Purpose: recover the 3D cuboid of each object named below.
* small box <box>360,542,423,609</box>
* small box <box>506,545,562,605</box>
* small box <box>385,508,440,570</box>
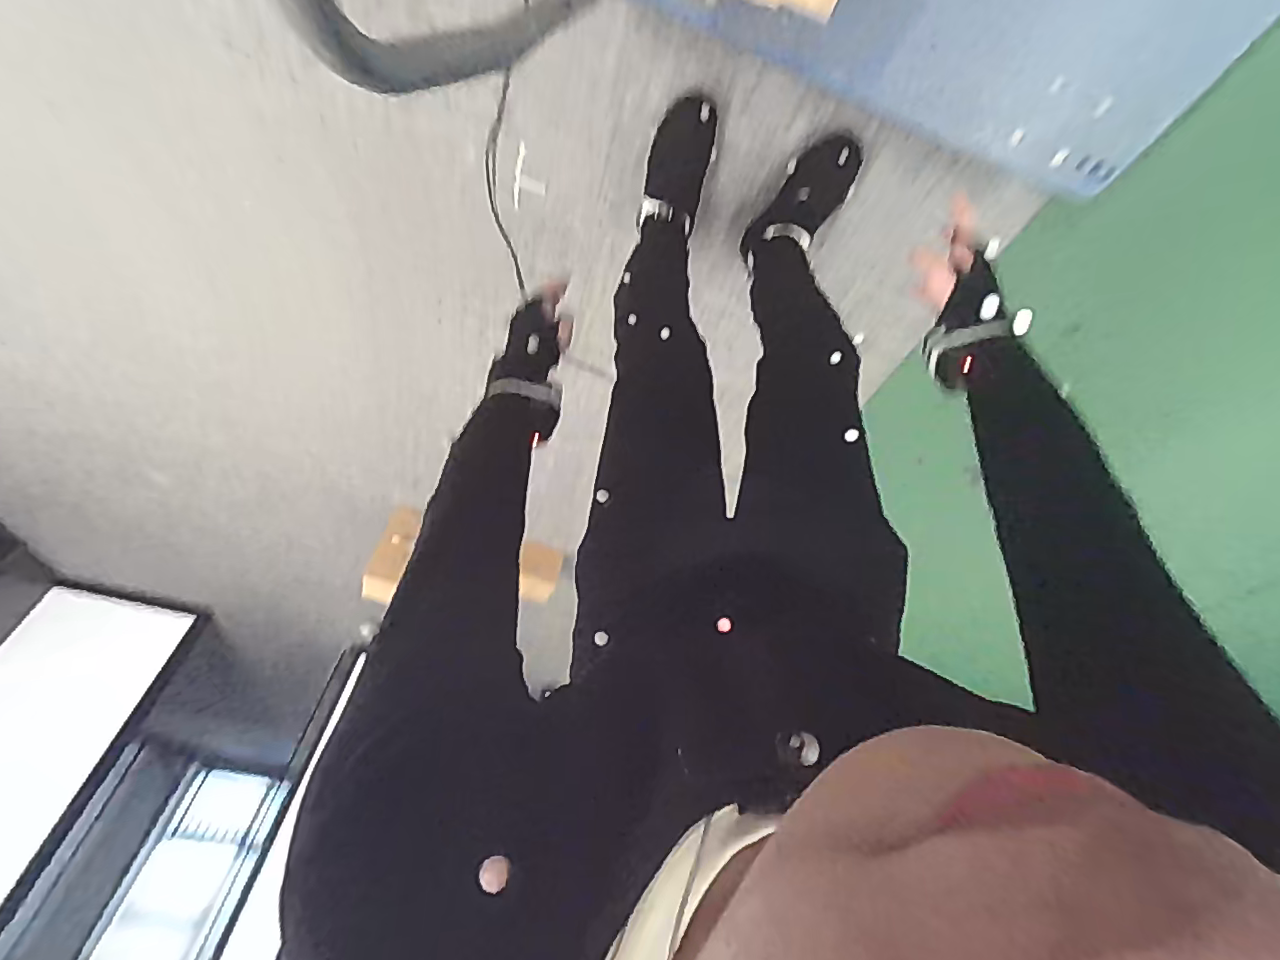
[{"bbox_3d":[-0.944,0.363,2.057,0.168,0.176,0.179,21,138,-13],"label":"small box"},{"bbox_3d":[-0.437,0.392,2.252,0.179,0.176,0.168,20,138,-13],"label":"small box"},{"bbox_3d":[-0.916,0.242,2.159,0.168,0.176,0.179,23,137,-19],"label":"small box"}]
